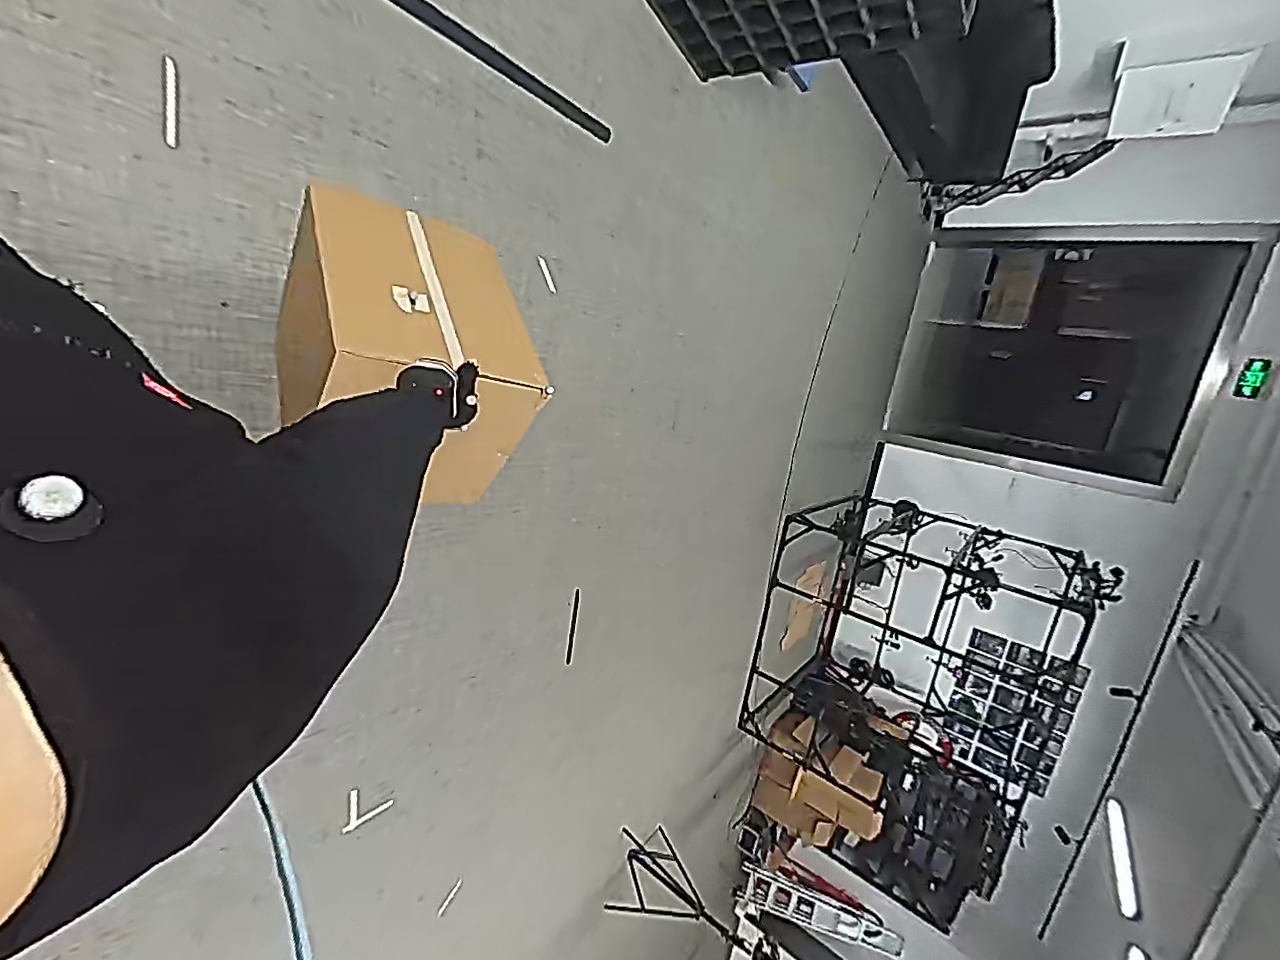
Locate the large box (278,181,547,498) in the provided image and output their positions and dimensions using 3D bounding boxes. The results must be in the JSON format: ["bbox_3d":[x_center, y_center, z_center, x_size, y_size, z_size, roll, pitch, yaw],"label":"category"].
[{"bbox_3d":[-0.420,-0.221,0.955,0.320,0.408,0.320,4,142,-42],"label":"large box"}]
